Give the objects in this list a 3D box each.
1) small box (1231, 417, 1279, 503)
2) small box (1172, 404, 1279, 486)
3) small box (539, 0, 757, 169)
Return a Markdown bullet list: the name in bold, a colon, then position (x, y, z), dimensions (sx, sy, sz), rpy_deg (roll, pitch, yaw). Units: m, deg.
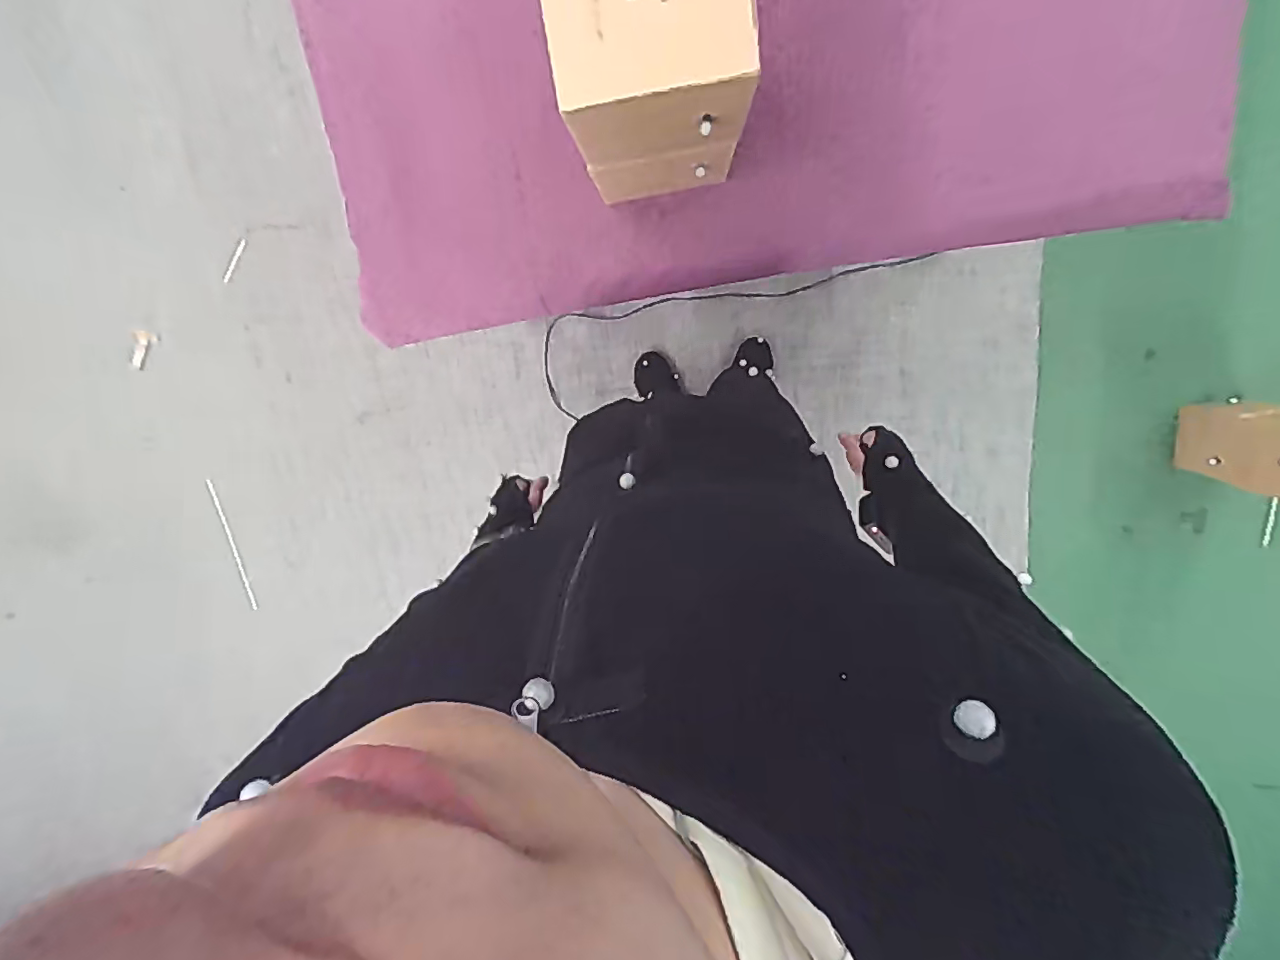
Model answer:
- **small box**: position (1.545, -0.048, 1.257), dimensions (0.168, 0.176, 0.179), rpy_deg (-9, 103, 7)
- **small box**: position (1.553, -0.095, 1.412), dimensions (0.168, 0.176, 0.179), rpy_deg (-6, 104, 6)
- **small box**: position (0.007, -0.424, 0.520), dimensions (0.179, 0.176, 0.168), rpy_deg (-7, 104, 6)
